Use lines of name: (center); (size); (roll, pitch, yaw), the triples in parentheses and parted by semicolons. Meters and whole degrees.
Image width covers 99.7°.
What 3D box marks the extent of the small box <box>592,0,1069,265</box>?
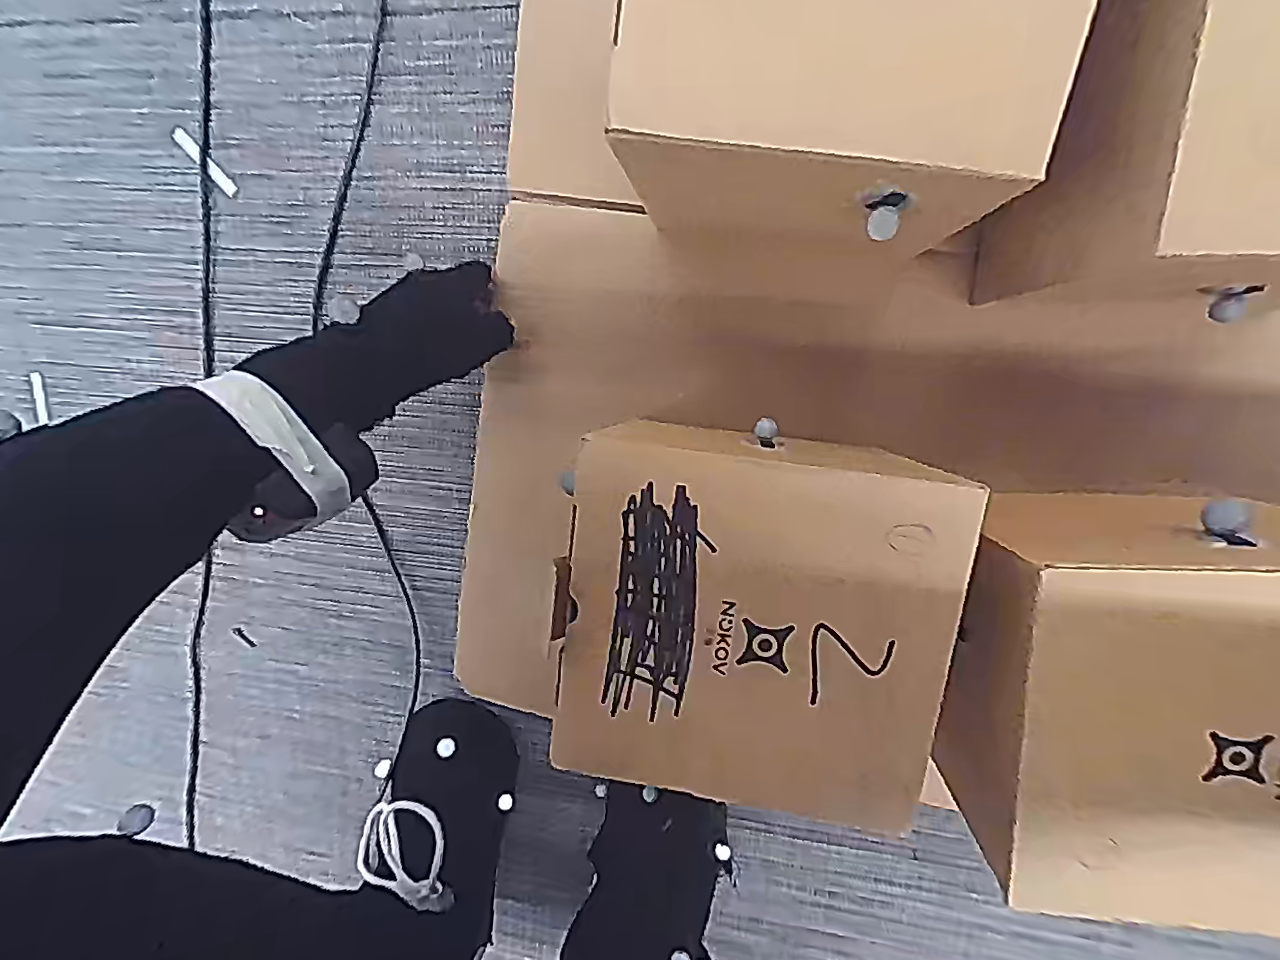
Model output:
small box: (0.090, -0.221, 0.284); (0.179, 0.176, 0.168); (12, 103, 8)
